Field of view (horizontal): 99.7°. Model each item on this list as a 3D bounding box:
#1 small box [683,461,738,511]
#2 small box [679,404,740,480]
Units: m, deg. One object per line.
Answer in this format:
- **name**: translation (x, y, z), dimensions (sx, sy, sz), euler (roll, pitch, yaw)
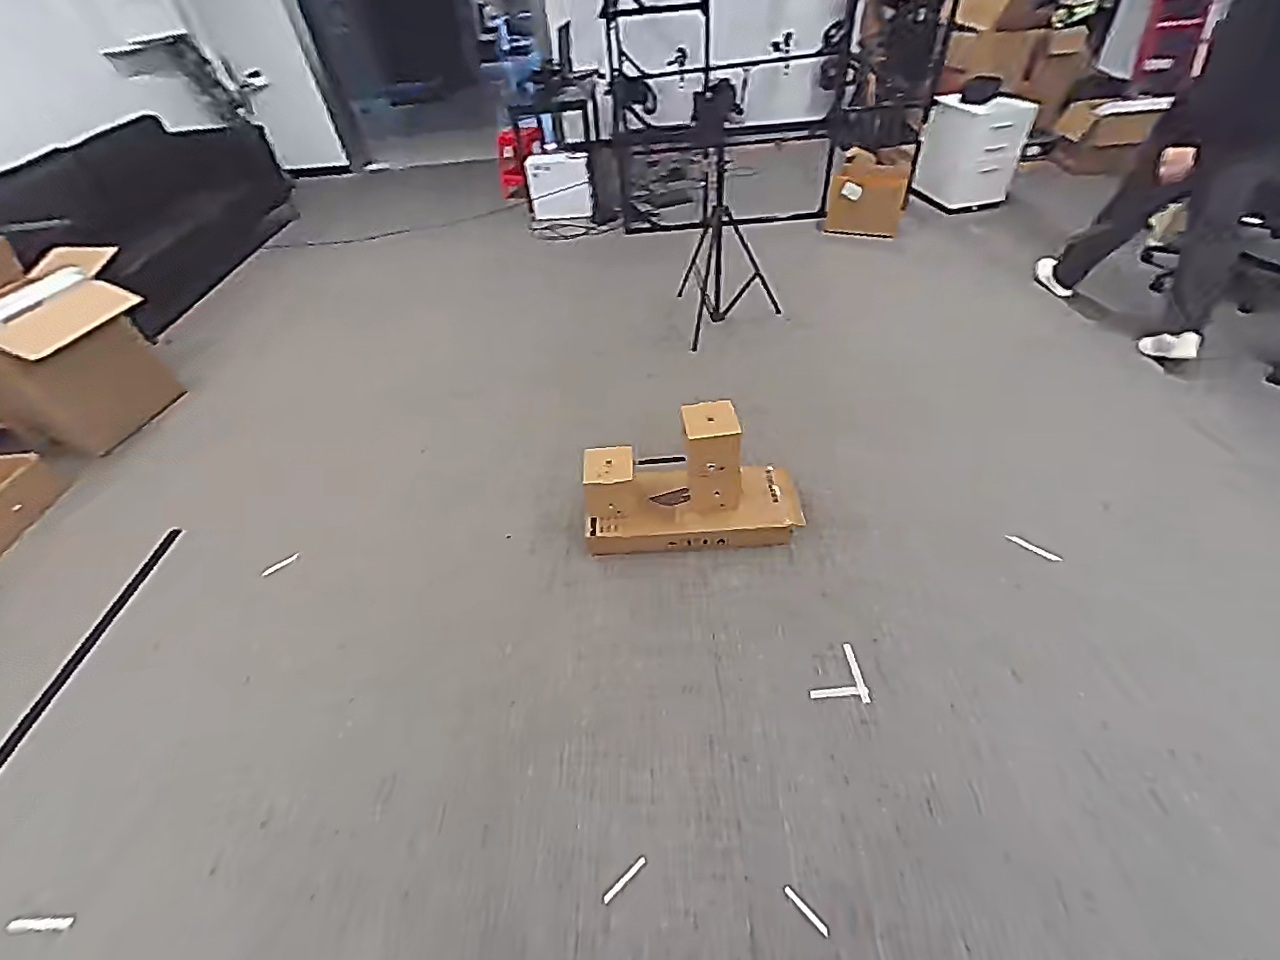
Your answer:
- **small box**: translation (0.241, -0.005, 1.863), dimensions (0.168, 0.176, 0.179), euler (-6, 45, 0)
- **small box**: translation (0.220, -0.122, 1.750), dimensions (0.168, 0.176, 0.179), euler (-8, 45, -1)
